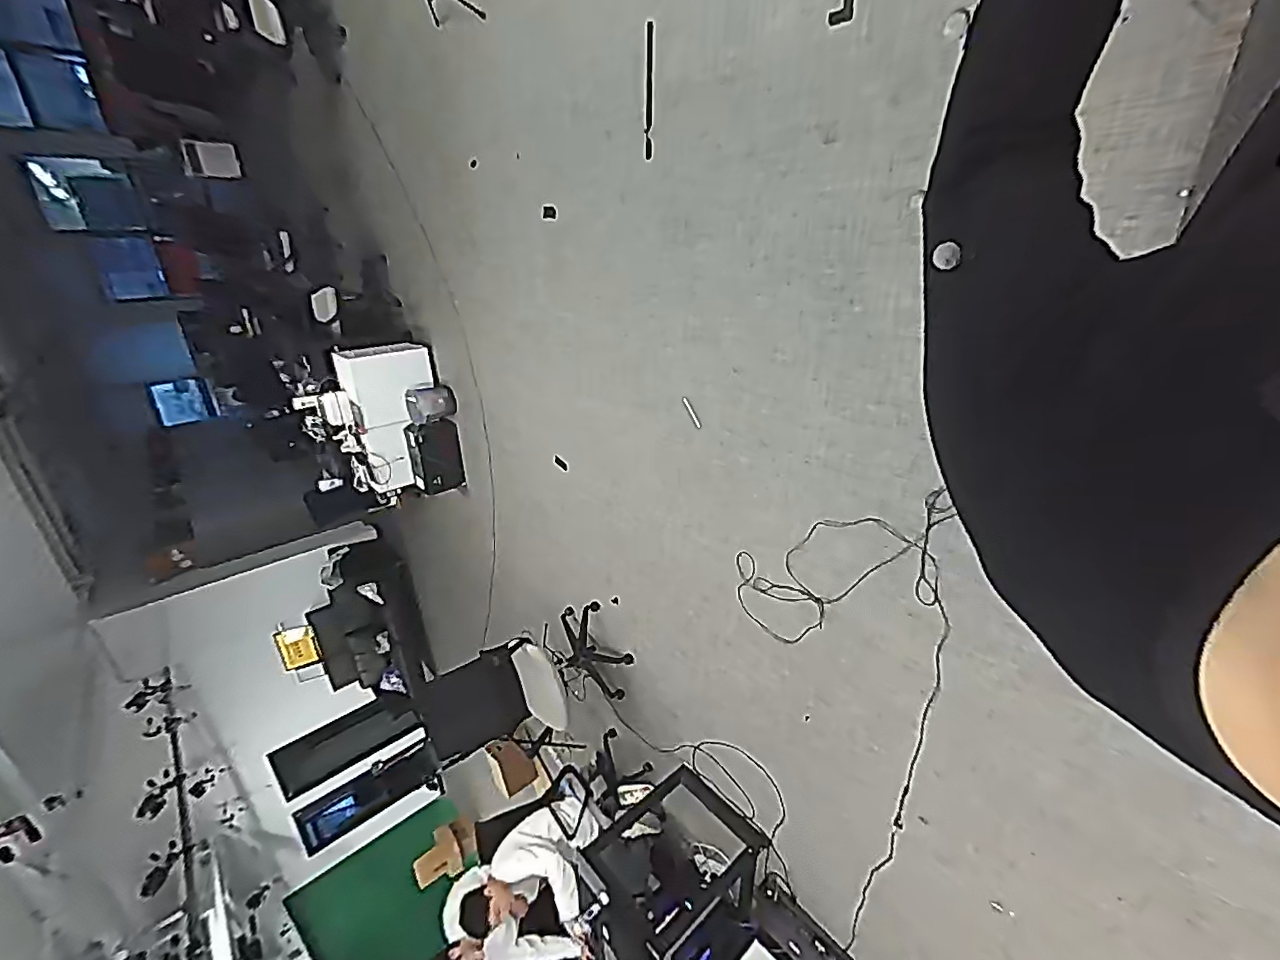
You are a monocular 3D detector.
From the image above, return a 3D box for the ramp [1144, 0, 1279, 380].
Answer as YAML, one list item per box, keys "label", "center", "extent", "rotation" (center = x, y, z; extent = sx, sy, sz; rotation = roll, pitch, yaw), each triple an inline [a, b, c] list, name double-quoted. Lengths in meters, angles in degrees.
- label: "ramp"
  center: [1.146, -0.596, 0.726]
  extent: [0.509, 0.206, 0.991]
  rotation: [21, 123, 44]
